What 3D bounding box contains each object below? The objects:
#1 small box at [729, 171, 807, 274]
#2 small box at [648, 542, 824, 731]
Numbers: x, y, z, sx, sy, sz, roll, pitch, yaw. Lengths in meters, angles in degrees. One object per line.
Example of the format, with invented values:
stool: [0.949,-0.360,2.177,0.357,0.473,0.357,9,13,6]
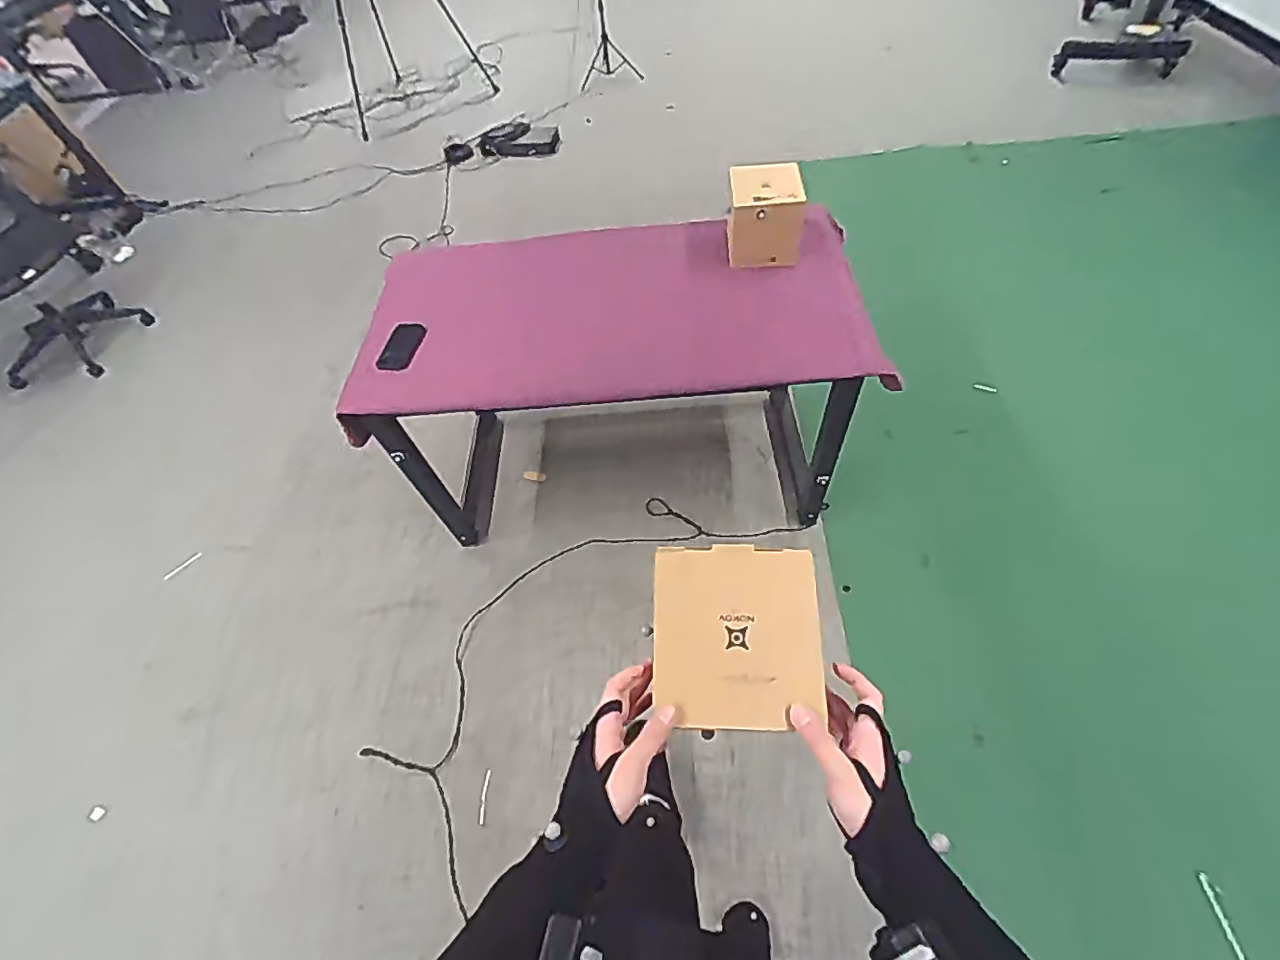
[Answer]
small box: [0.311,-0.641,1.350,0.168,0.176,0.179,-2,55,6]
small box: [0.094,0.178,0.605,0.168,0.176,0.179,1,69,2]
